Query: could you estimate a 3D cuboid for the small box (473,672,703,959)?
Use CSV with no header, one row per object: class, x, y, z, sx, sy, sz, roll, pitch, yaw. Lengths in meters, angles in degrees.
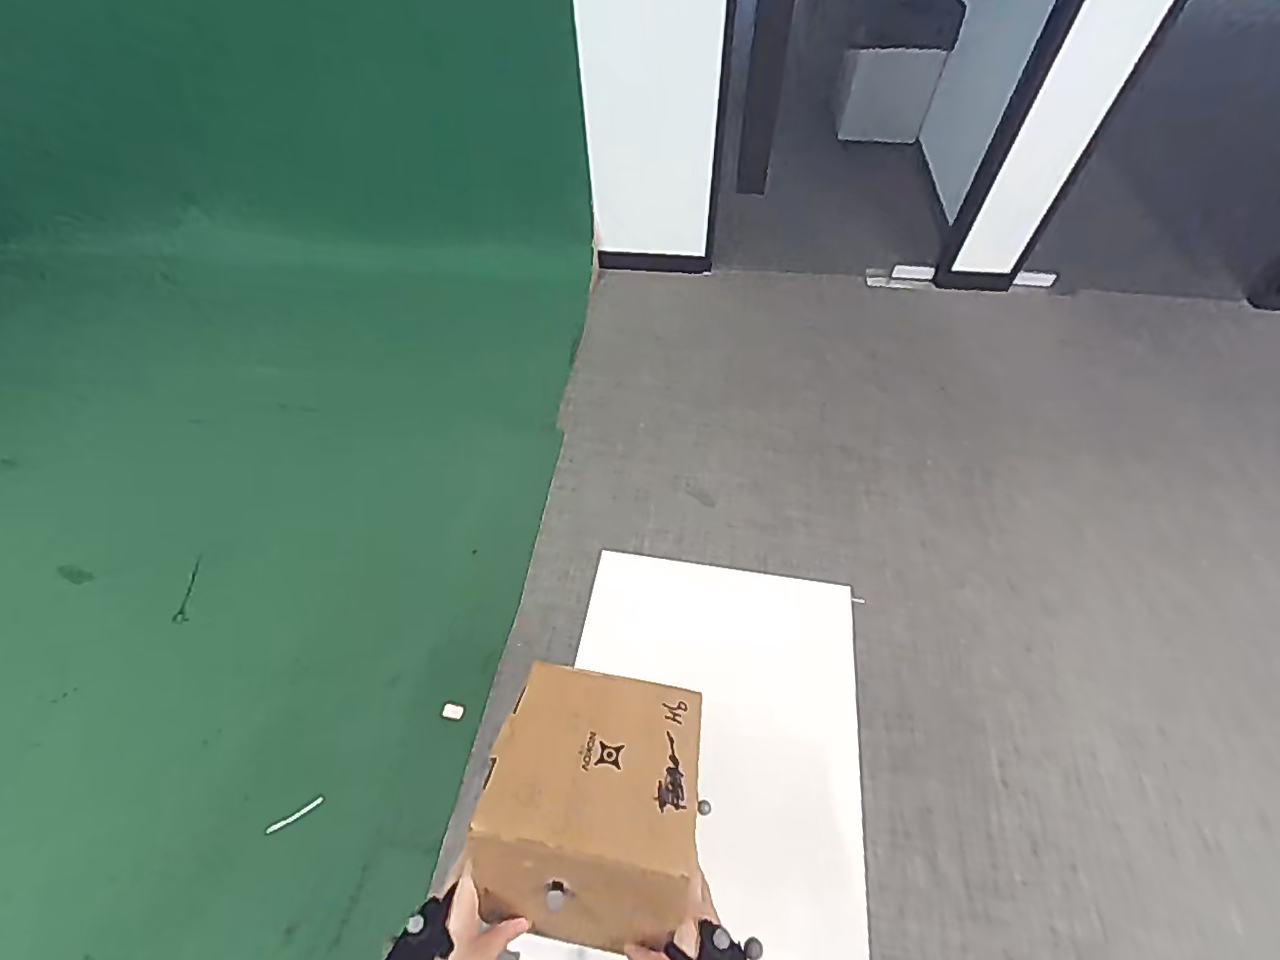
small box,-0.040,0.317,0.518,0.179,0.176,0.168,8,31,5
